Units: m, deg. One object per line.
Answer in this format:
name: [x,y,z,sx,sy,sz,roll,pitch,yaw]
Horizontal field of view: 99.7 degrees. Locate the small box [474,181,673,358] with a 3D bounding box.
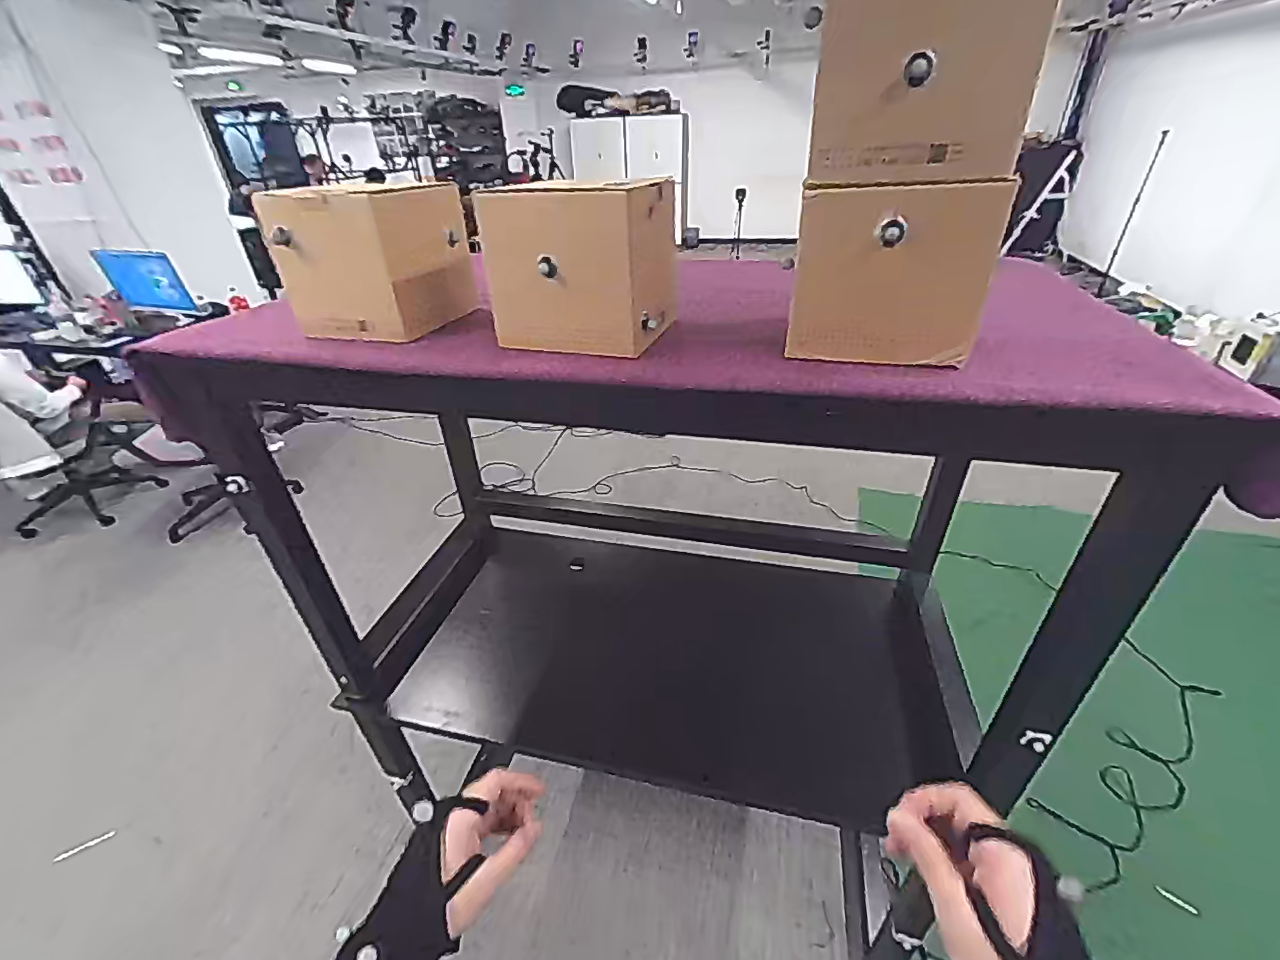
small box: [-0.063,-0.252,0.646,0.179,0.176,0.168,7,33,18]

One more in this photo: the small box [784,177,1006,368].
small box: [0.254,-0.227,0.580,0.179,0.176,0.168,7,33,17]

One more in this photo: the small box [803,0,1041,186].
small box: [0.246,-0.371,0.500,0.168,0.176,0.179,7,34,16]
